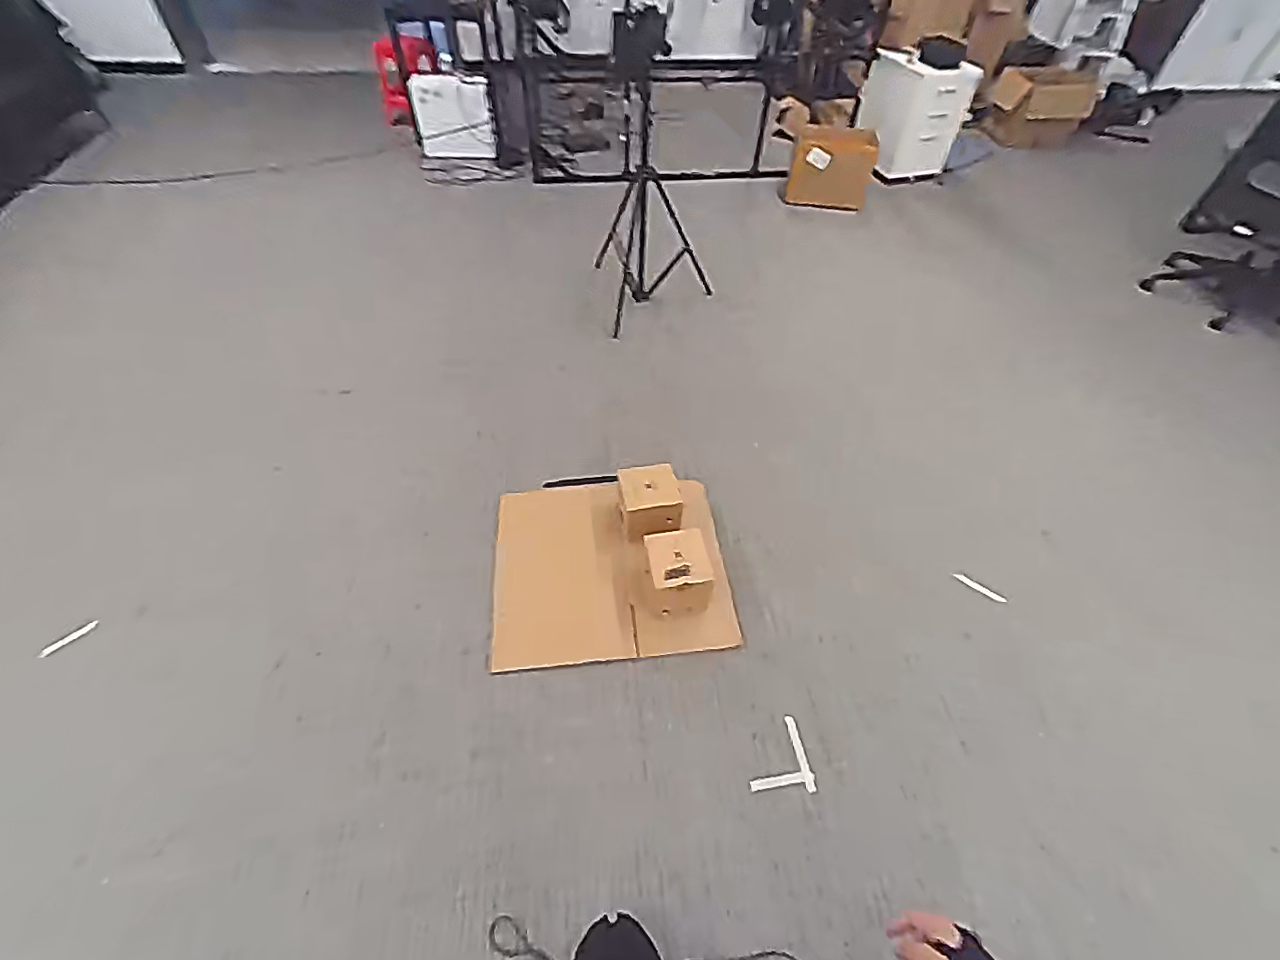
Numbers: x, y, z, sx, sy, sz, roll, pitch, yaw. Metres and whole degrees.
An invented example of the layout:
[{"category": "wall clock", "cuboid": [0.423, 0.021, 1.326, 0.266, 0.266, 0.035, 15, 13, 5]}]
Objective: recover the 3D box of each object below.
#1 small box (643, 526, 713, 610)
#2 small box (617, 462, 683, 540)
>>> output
[{"category": "small box", "cuboid": [0.102, 0.259, 1.550, 0.168, 0.176, 0.179, -7, 51, -8]}, {"category": "small box", "cuboid": [0.027, 0.067, 1.708, 0.179, 0.176, 0.168, -10, 50, -8]}]
